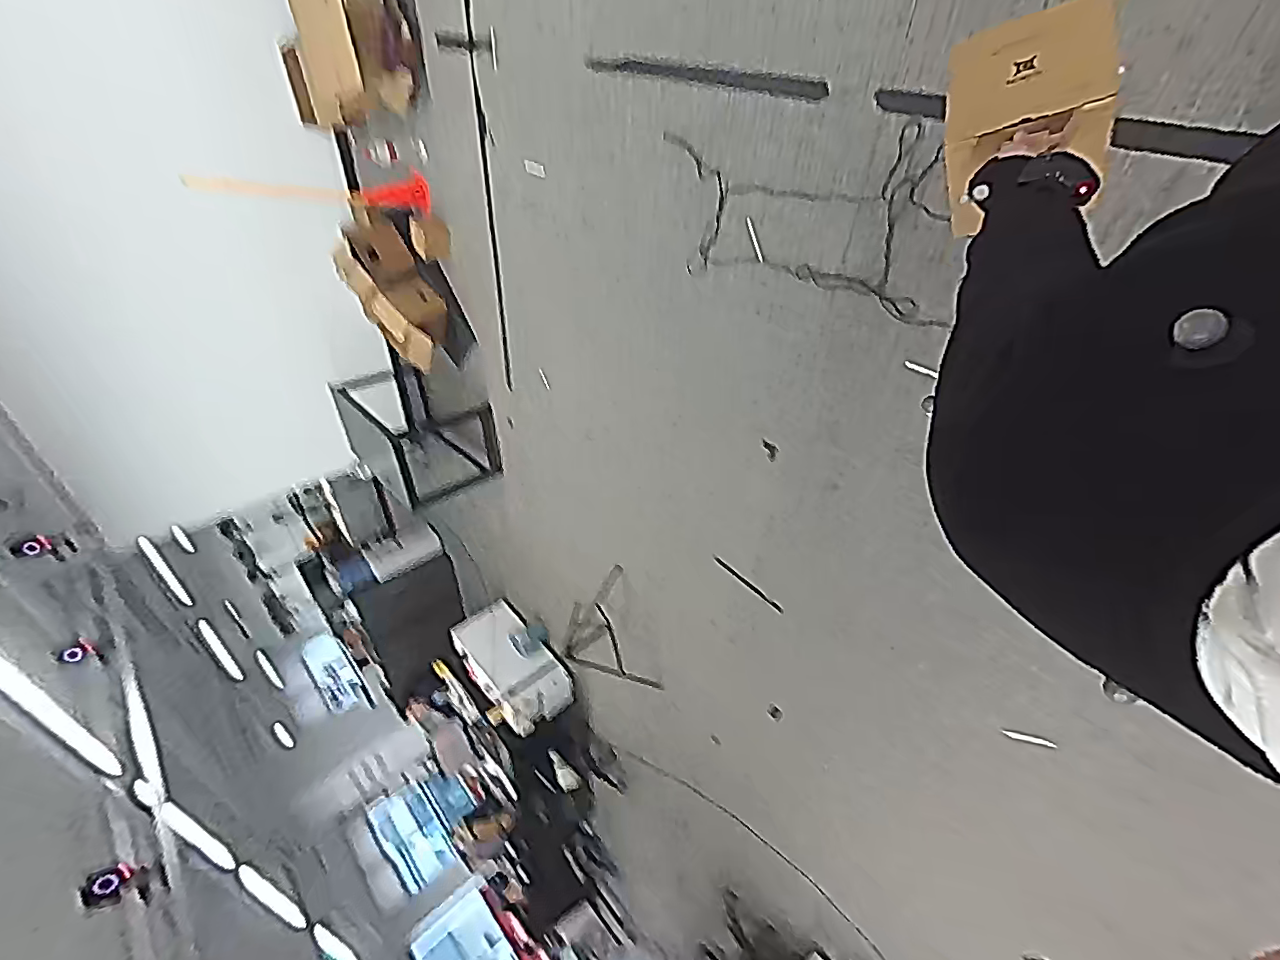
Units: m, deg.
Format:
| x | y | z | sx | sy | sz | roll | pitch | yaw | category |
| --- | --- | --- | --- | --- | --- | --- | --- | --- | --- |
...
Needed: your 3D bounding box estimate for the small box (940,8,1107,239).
| x | y | z | sx | sy | sz | roll | pitch | yaw | category |
| --- | --- | --- | --- | --- | --- | --- | --- | --- | --- |
| 0.506 | -0.452 | 0.723 | 0.168 | 0.179 | 0.176 | 0 | 158 | 34 | small box |
